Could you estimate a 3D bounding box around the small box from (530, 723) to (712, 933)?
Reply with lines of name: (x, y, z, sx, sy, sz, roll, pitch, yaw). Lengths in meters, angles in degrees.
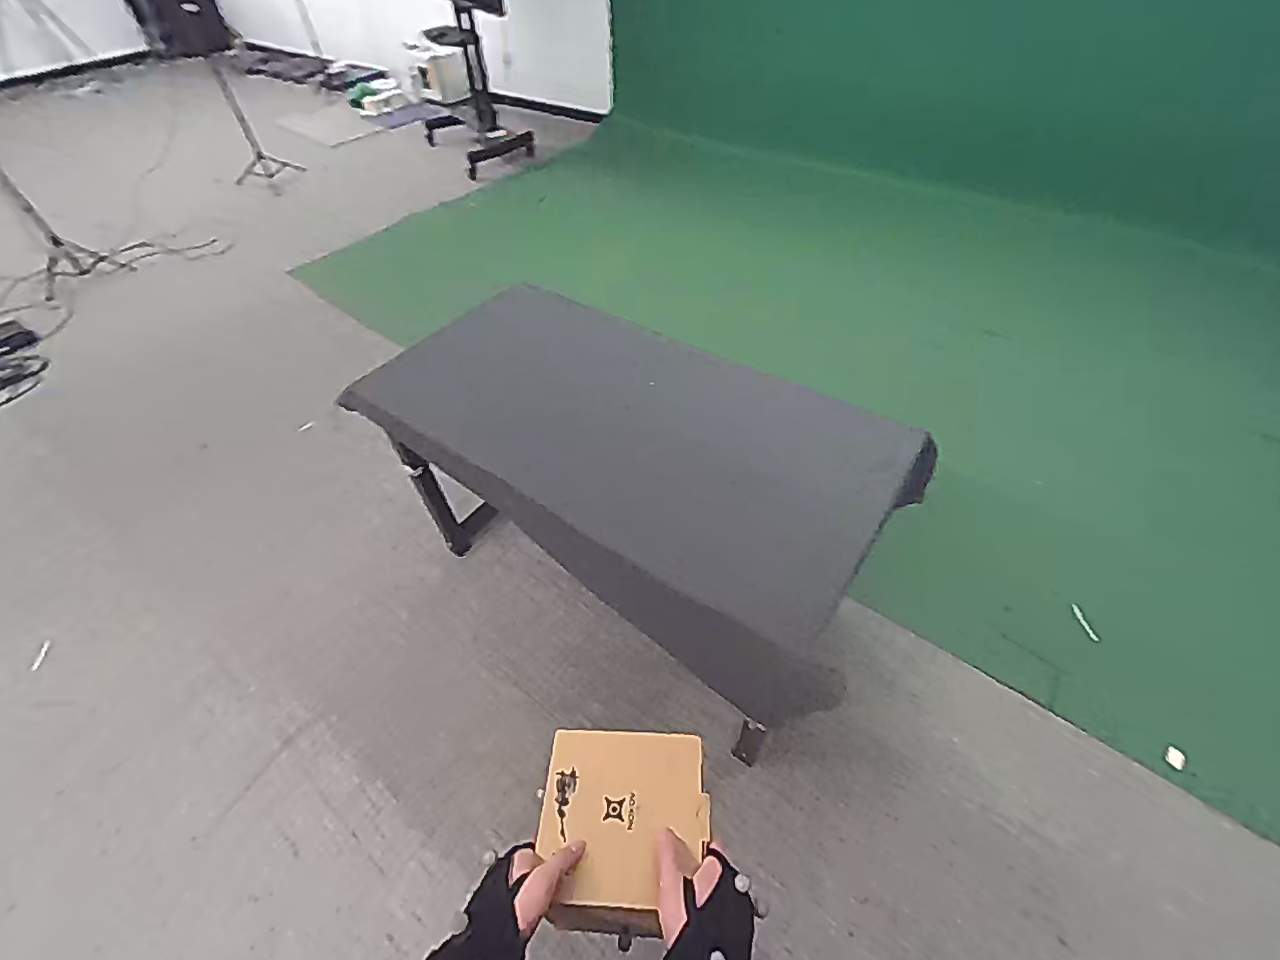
small box: (-0.013, 0.403, 0.625, 0.179, 0.176, 0.168, 2, 43, 4)
